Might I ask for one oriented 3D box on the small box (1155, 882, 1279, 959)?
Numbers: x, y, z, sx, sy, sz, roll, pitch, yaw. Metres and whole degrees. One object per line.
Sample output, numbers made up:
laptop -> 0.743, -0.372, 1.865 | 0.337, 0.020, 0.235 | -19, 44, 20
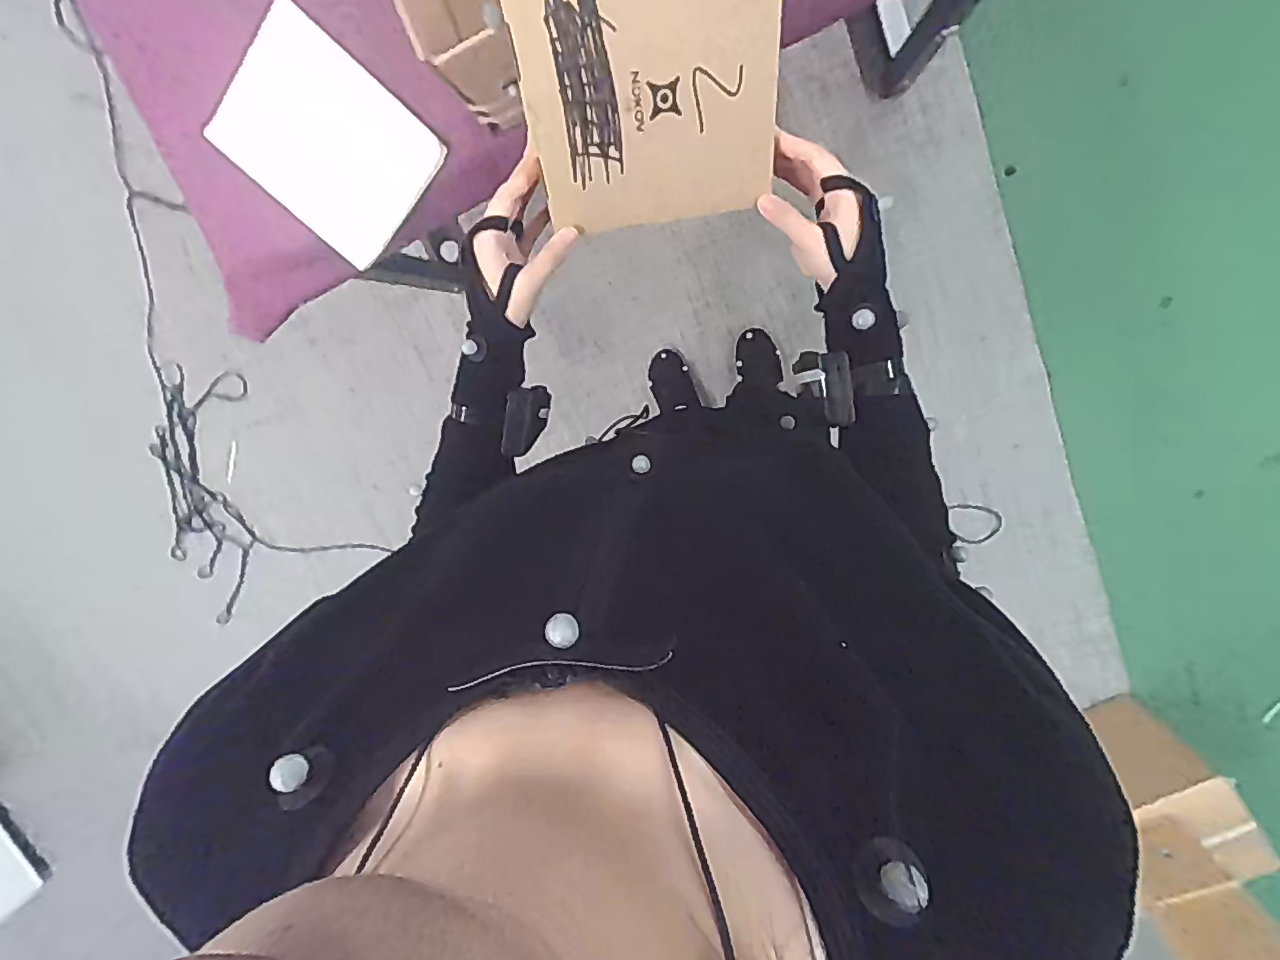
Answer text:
small box -> 1.206, 0.953, 1.078 | 0.179, 0.176, 0.168 | -29, 100, 13

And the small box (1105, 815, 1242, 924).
small box -> 1.223, 0.904, 1.231 | 0.168, 0.176, 0.179 | -30, 100, 14
